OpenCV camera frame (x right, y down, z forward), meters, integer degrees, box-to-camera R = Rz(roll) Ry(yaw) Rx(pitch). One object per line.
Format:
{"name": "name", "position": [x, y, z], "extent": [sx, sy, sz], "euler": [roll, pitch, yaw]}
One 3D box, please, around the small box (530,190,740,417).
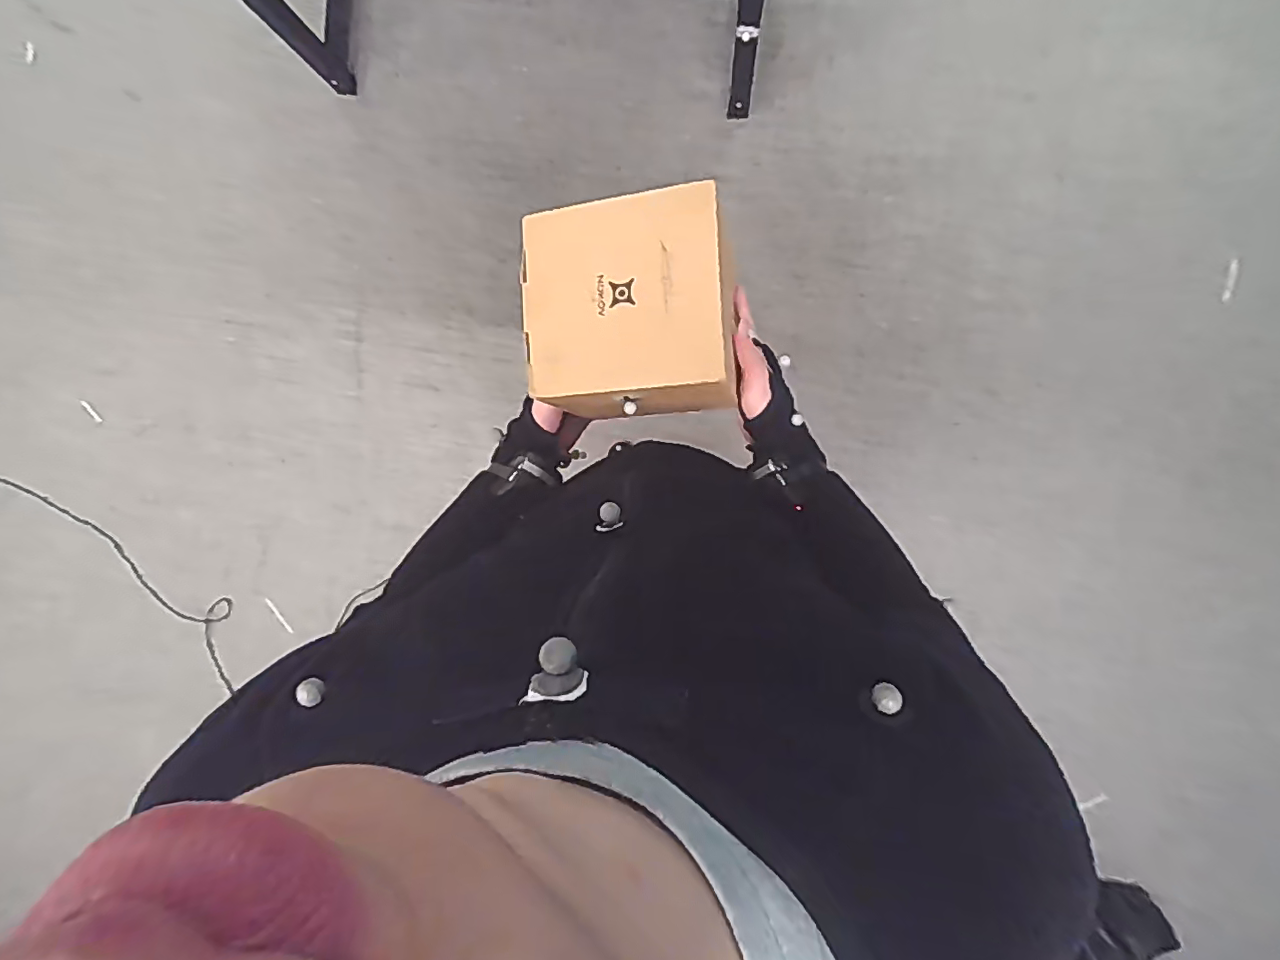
{"name": "small box", "position": [0.005, -0.158, 0.549], "extent": [0.179, 0.176, 0.168], "euler": [-3, 90, 13]}
